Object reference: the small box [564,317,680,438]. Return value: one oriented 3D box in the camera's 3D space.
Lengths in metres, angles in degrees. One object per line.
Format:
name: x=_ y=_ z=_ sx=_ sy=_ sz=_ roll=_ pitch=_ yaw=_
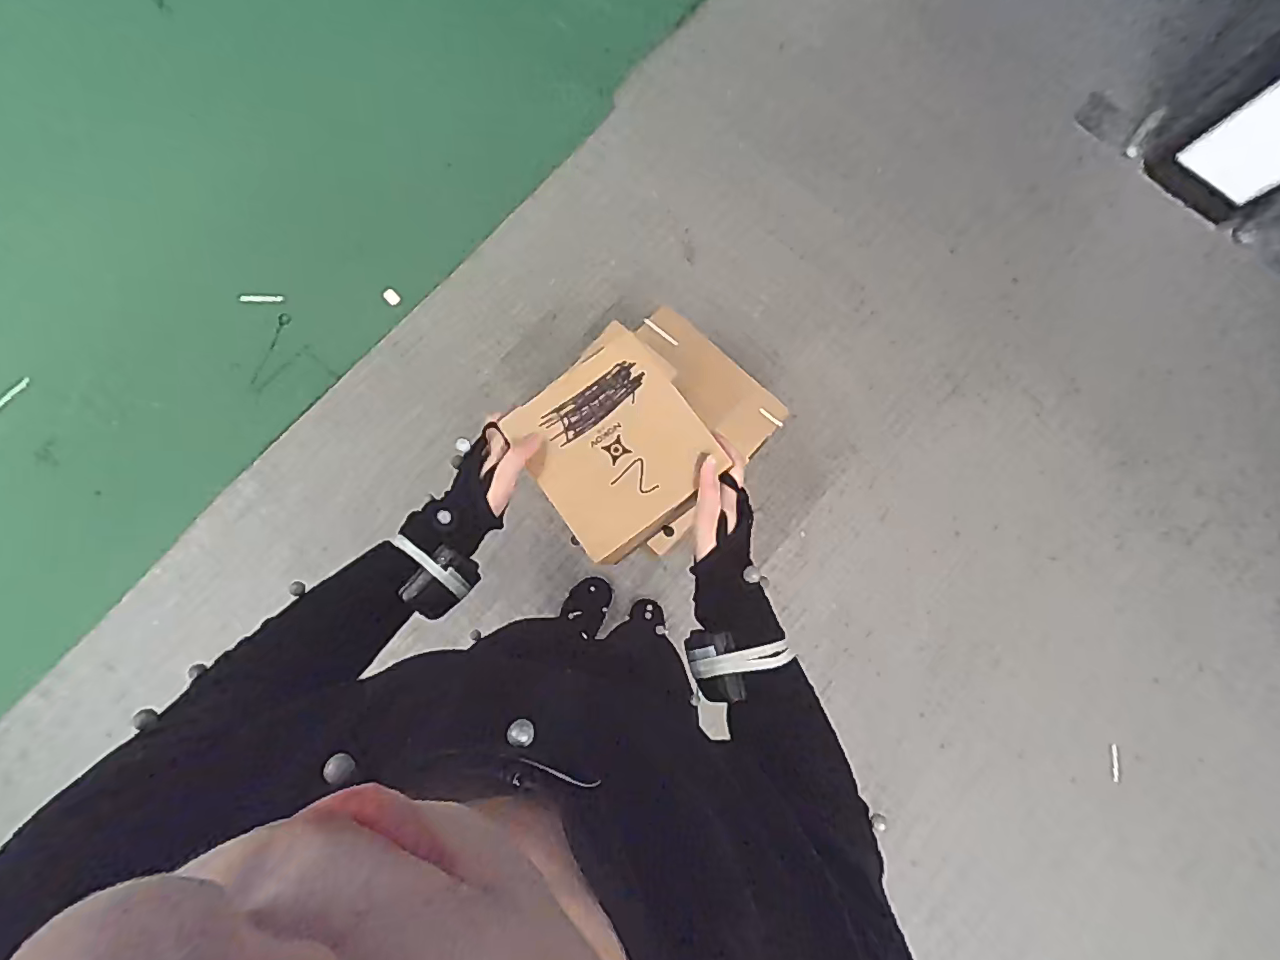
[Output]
small box: x=-0.038 y=-0.209 z=1.164 sx=0.179 sy=0.176 sz=0.168 roll=41 pitch=82 yaw=4
